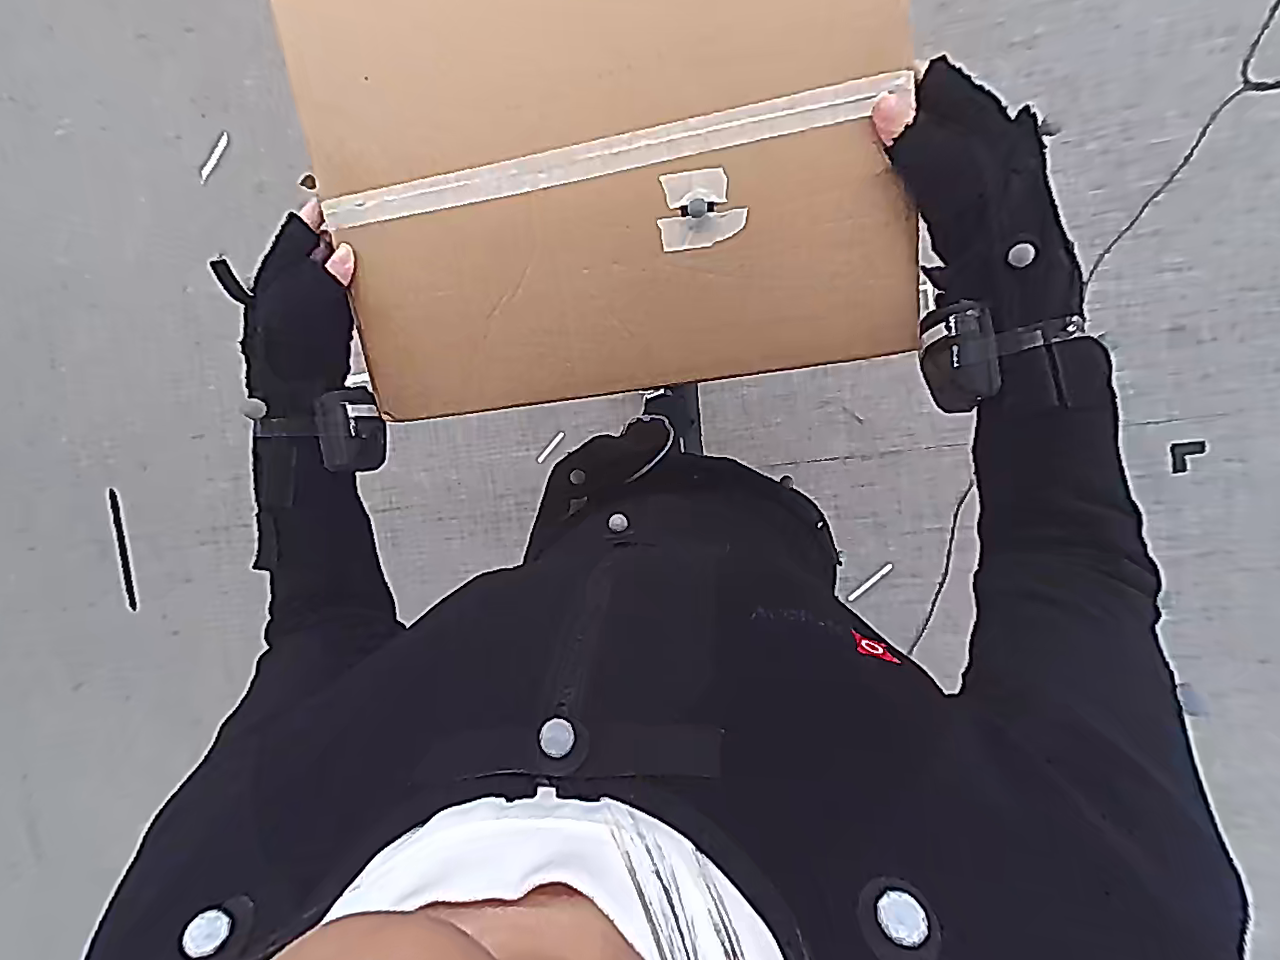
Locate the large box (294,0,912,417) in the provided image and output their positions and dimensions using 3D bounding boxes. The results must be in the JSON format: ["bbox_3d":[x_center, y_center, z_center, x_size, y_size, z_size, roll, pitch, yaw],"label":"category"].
[{"bbox_3d":[-0.009,-0.259,0.522,0.408,0.320,0.320,-7,104,9],"label":"large box"}]
